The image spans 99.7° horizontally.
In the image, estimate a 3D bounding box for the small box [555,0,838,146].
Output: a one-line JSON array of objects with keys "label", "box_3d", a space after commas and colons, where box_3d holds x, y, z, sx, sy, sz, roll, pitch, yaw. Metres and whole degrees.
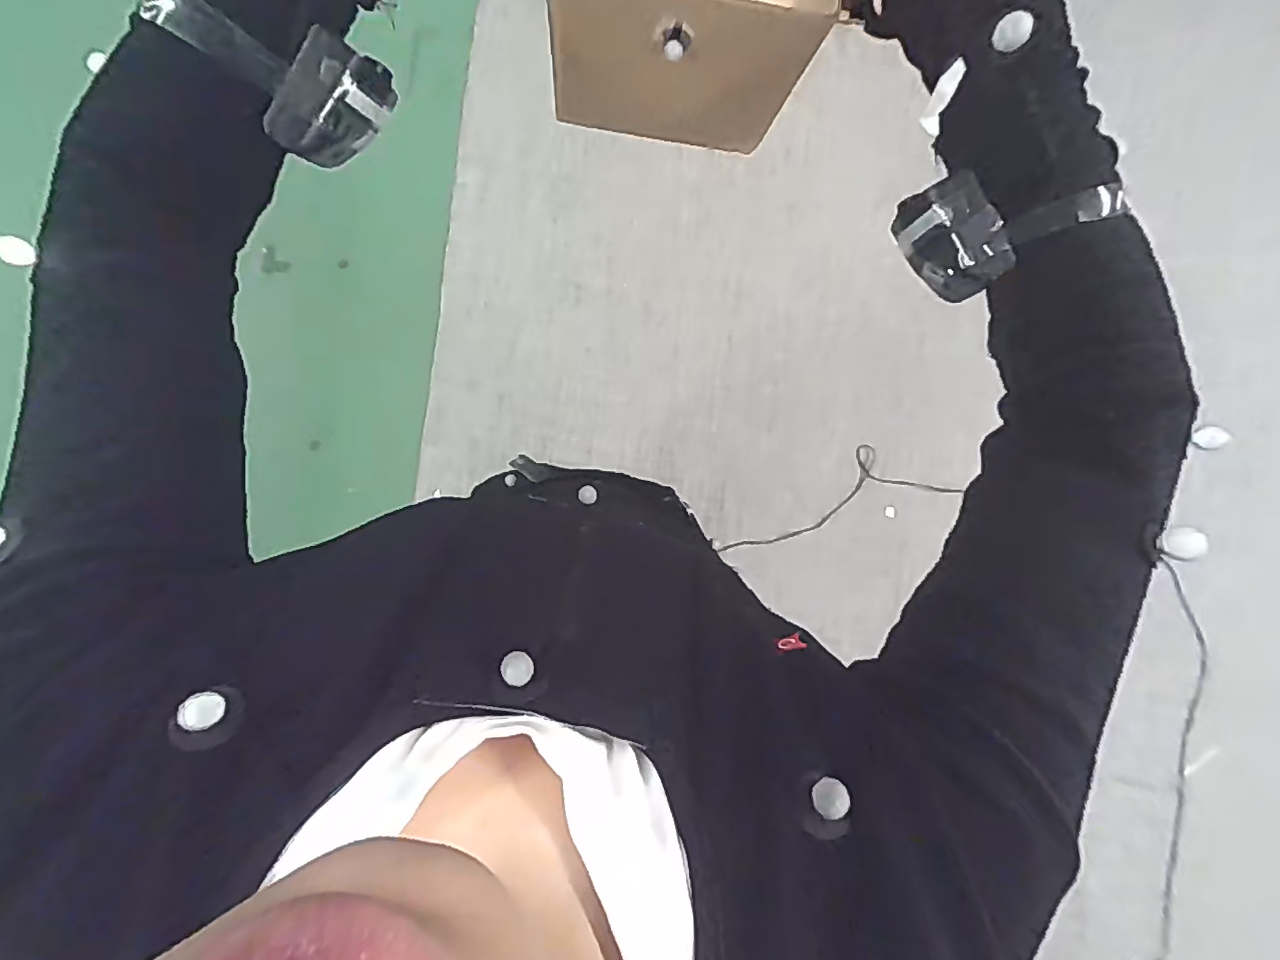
[{"label": "small box", "box_3d": [0.032, -0.372, 0.385, 0.179, 0.176, 0.168, 5, 95, -7]}]
